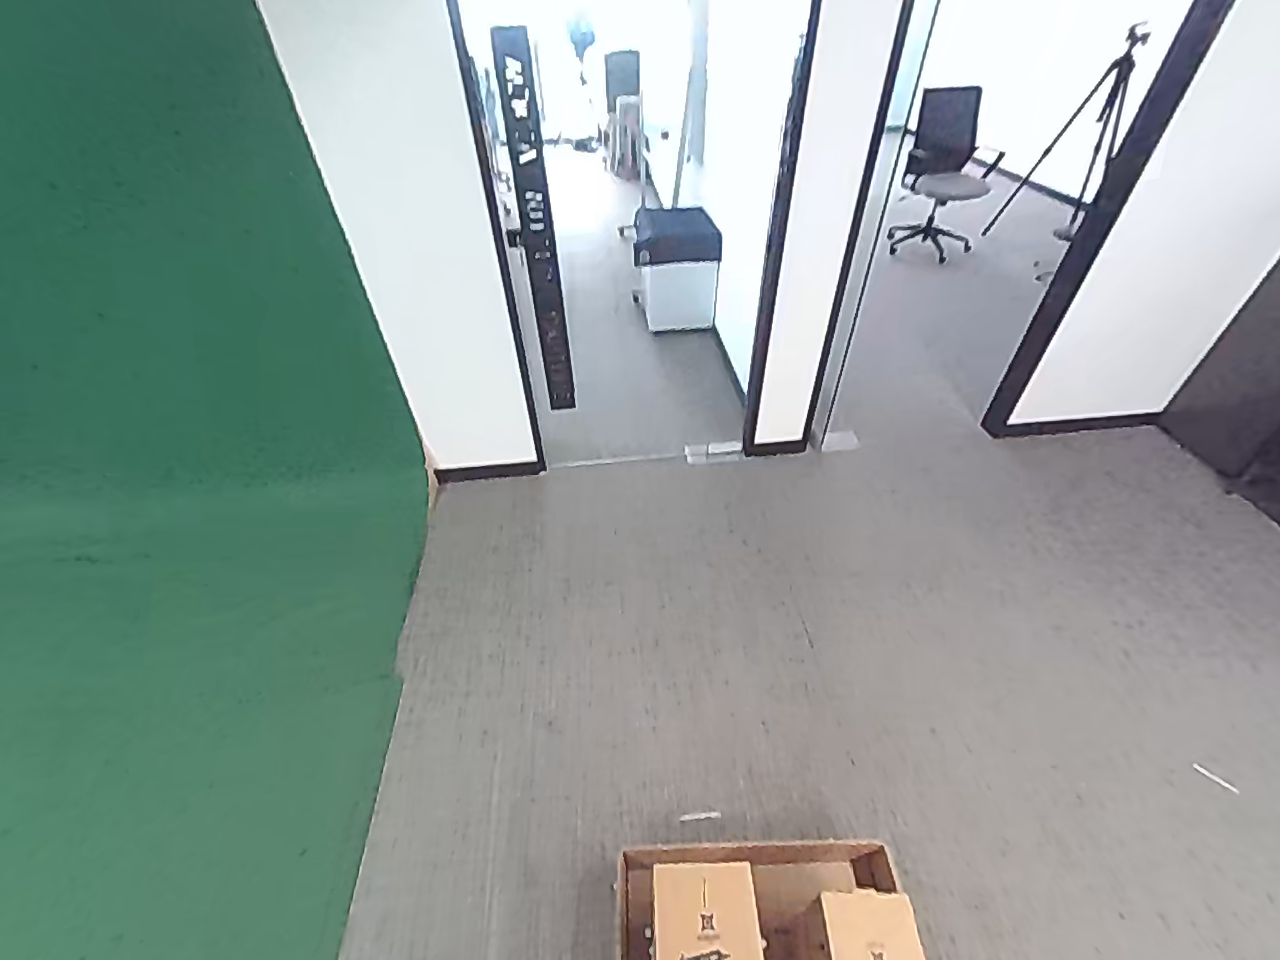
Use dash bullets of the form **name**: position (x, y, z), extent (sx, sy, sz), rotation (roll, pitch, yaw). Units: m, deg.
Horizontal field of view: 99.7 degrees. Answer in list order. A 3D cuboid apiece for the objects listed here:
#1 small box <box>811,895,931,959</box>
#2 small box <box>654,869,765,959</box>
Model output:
- **small box**: position (0.420, 0.887, 0.983), extent (0.168, 0.176, 0.179), rotation (0, 41, 2)
- **small box**: position (0.109, 0.765, 0.885), extent (0.168, 0.176, 0.179), rotation (-1, 40, 0)
